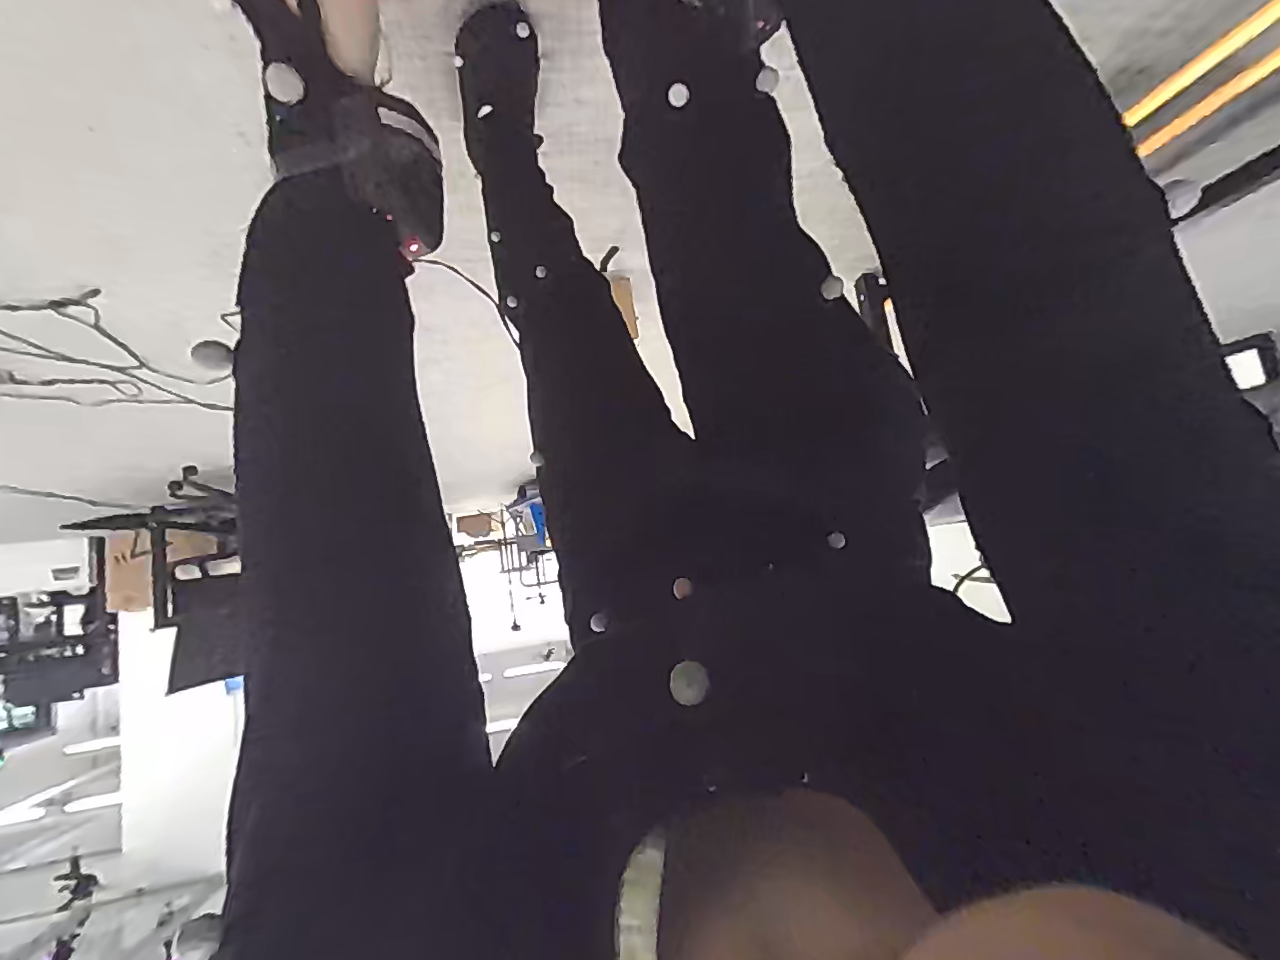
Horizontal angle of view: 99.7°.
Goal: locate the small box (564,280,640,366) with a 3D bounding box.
[{"bbox_3d":[-0.104,-0.426,1.469,0.179,0.176,0.168,-9,173,-4],"label":"small box"}]
